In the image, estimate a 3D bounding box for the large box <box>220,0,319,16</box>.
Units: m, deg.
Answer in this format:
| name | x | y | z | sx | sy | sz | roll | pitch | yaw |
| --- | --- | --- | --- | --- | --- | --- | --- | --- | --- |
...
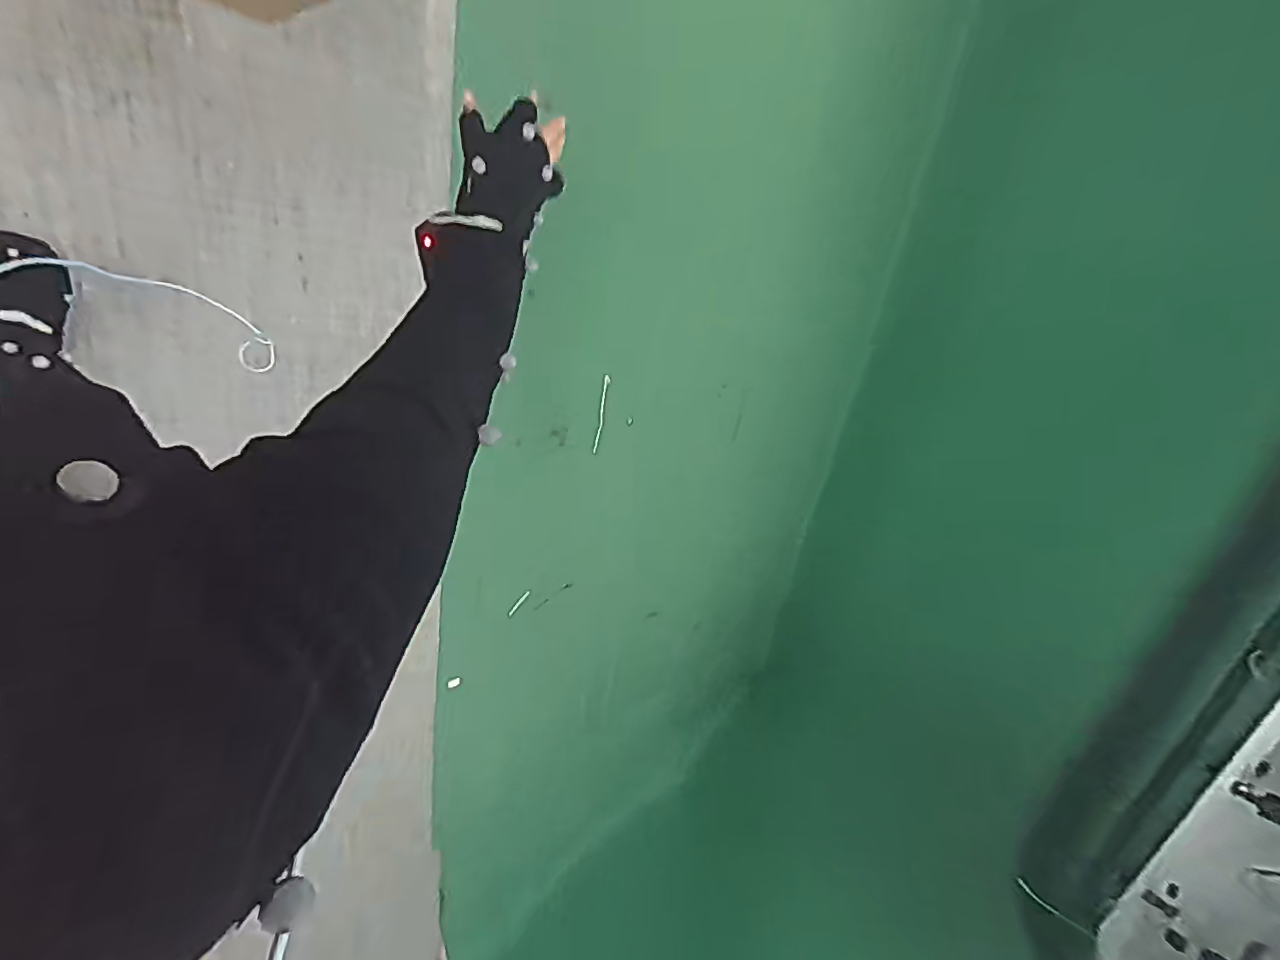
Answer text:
| name | x | y | z | sx | sy | sz | roll | pitch | yaw |
| --- | --- | --- | --- | --- | --- | --- | --- | --- | --- |
| large box | -0.635 | -0.838 | 0.645 | 0.408 | 0.320 | 0.320 | -12 | 121 | -46 |
